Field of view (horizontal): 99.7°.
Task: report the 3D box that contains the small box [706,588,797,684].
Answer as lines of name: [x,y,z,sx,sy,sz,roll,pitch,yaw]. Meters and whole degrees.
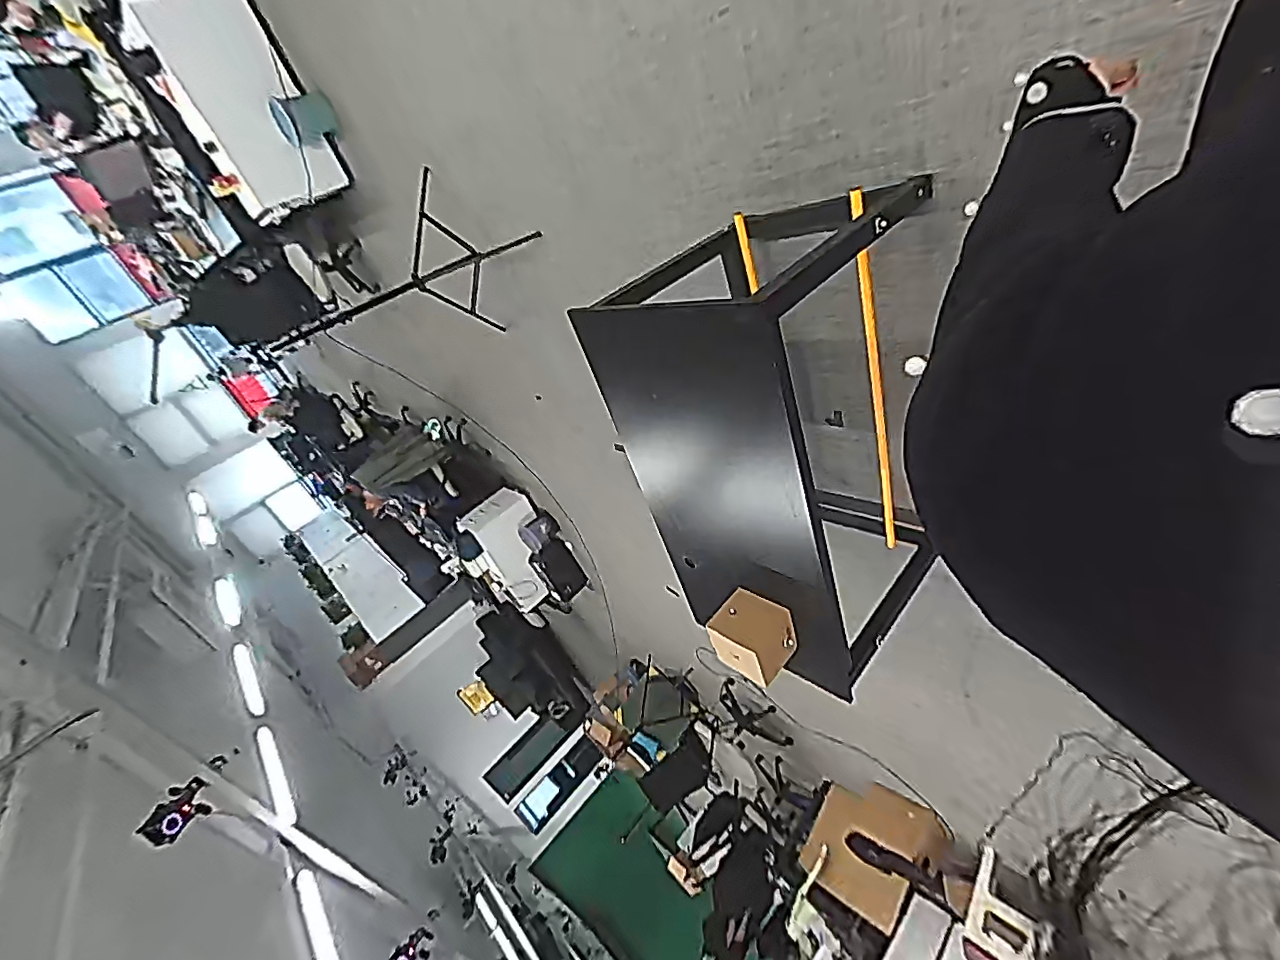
small box: [0.322,0.436,1.546,0.179,0.176,0.168,18,140,45]
